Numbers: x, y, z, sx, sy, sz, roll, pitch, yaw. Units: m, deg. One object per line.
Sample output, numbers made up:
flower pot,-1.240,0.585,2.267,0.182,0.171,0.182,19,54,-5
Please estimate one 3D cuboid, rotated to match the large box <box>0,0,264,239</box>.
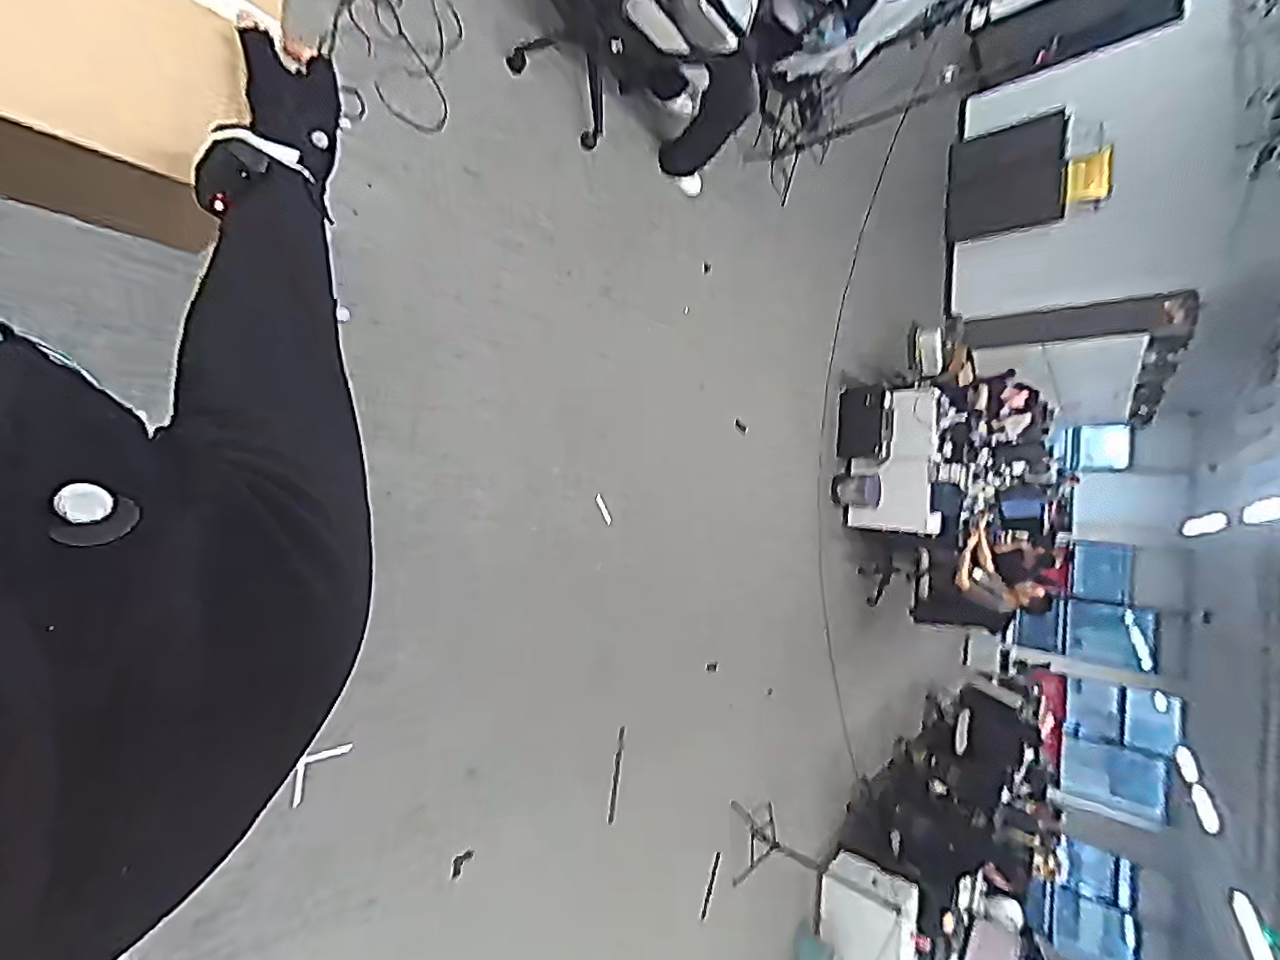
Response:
large box,-0.589,-0.442,0.451,0.408,0.320,0.320,4,94,-49
